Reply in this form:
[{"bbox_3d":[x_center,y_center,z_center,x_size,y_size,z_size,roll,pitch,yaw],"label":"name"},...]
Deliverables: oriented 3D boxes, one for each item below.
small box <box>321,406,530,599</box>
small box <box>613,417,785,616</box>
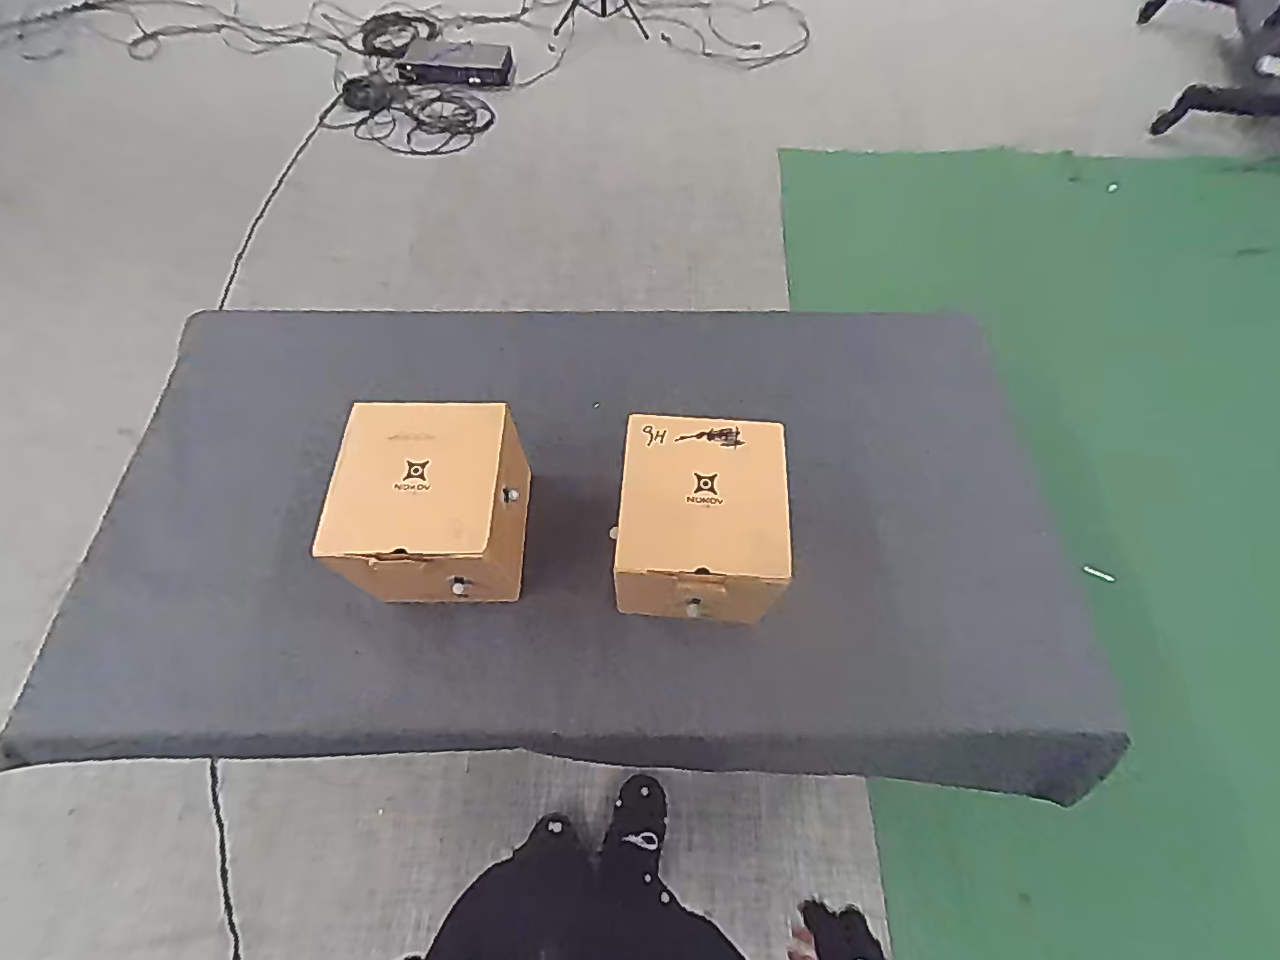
[{"bbox_3d":[-0.226,0.034,0.623,0.168,0.176,0.179,0,61,-2],"label":"small box"},{"bbox_3d":[0.062,0.050,0.615,0.168,0.176,0.179,4,63,1],"label":"small box"}]
